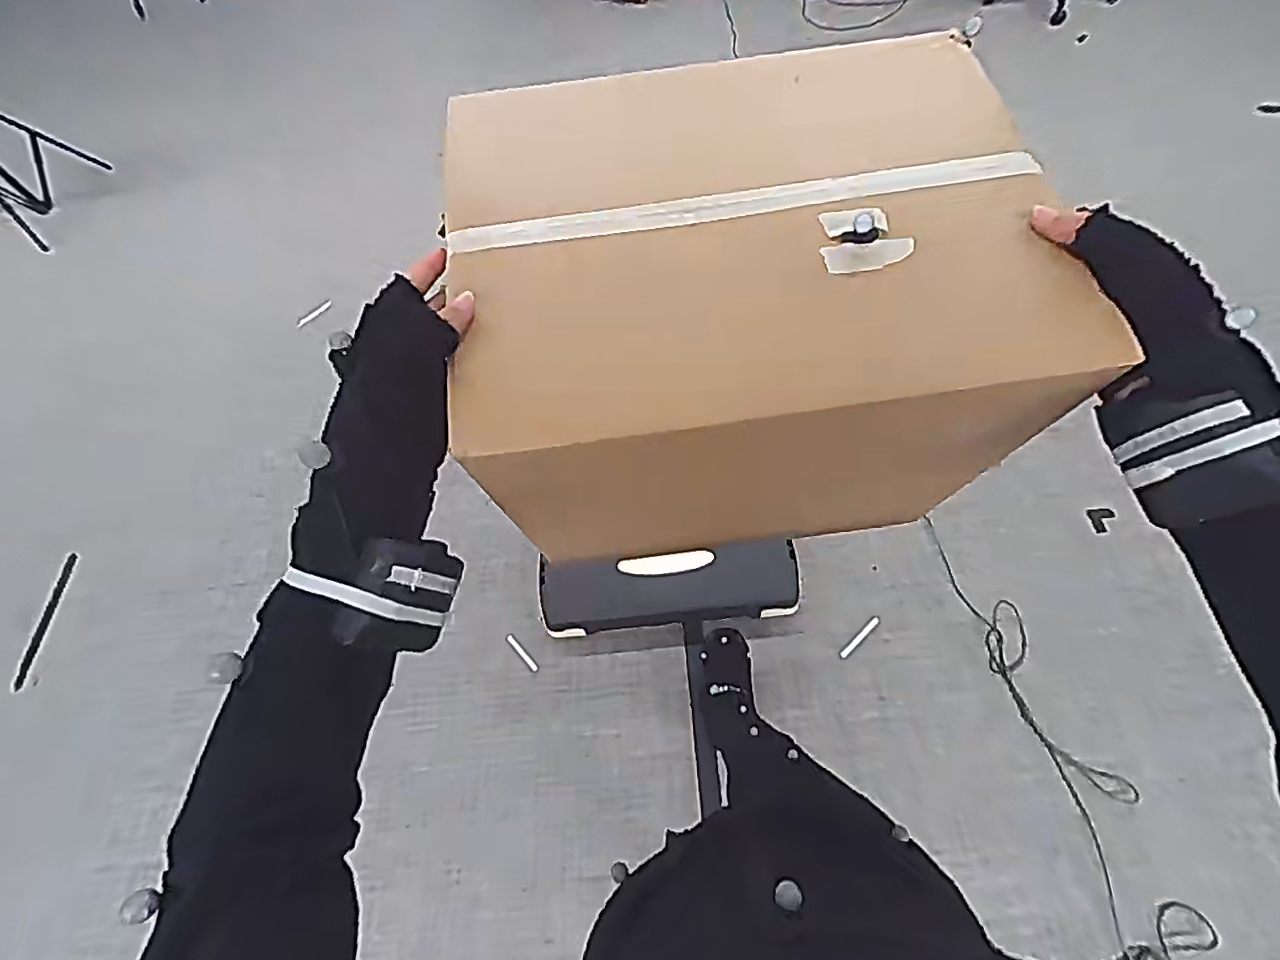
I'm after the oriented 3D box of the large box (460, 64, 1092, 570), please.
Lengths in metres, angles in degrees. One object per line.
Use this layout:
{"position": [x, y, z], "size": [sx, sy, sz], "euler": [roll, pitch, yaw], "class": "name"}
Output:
{"position": [0.074, -0.123, 0.529], "size": [0.408, 0.320, 0.320], "euler": [-8, 68, 0], "class": "large box"}
